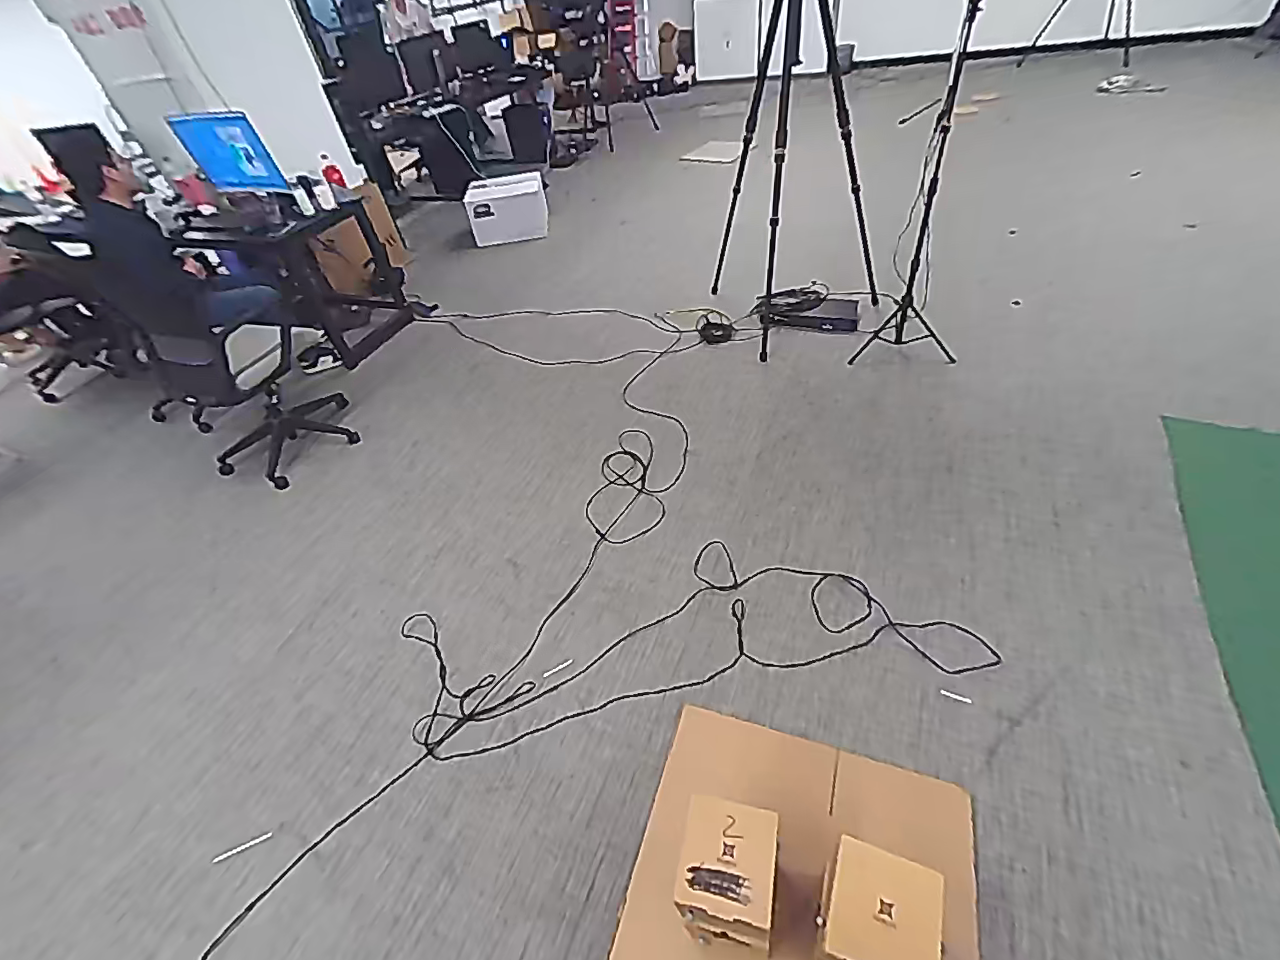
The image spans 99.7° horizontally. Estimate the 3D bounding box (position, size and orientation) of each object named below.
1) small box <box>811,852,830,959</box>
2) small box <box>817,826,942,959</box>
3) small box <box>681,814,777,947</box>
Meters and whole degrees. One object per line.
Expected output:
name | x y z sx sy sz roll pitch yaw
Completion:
small box | 0.428 0.864 1.045 0.168 0.176 0.179 8 48 21
small box | 0.409 0.745 0.936 0.168 0.176 0.179 11 49 22
small box | 0.191 0.832 1.120 0.168 0.176 0.179 6 46 17
